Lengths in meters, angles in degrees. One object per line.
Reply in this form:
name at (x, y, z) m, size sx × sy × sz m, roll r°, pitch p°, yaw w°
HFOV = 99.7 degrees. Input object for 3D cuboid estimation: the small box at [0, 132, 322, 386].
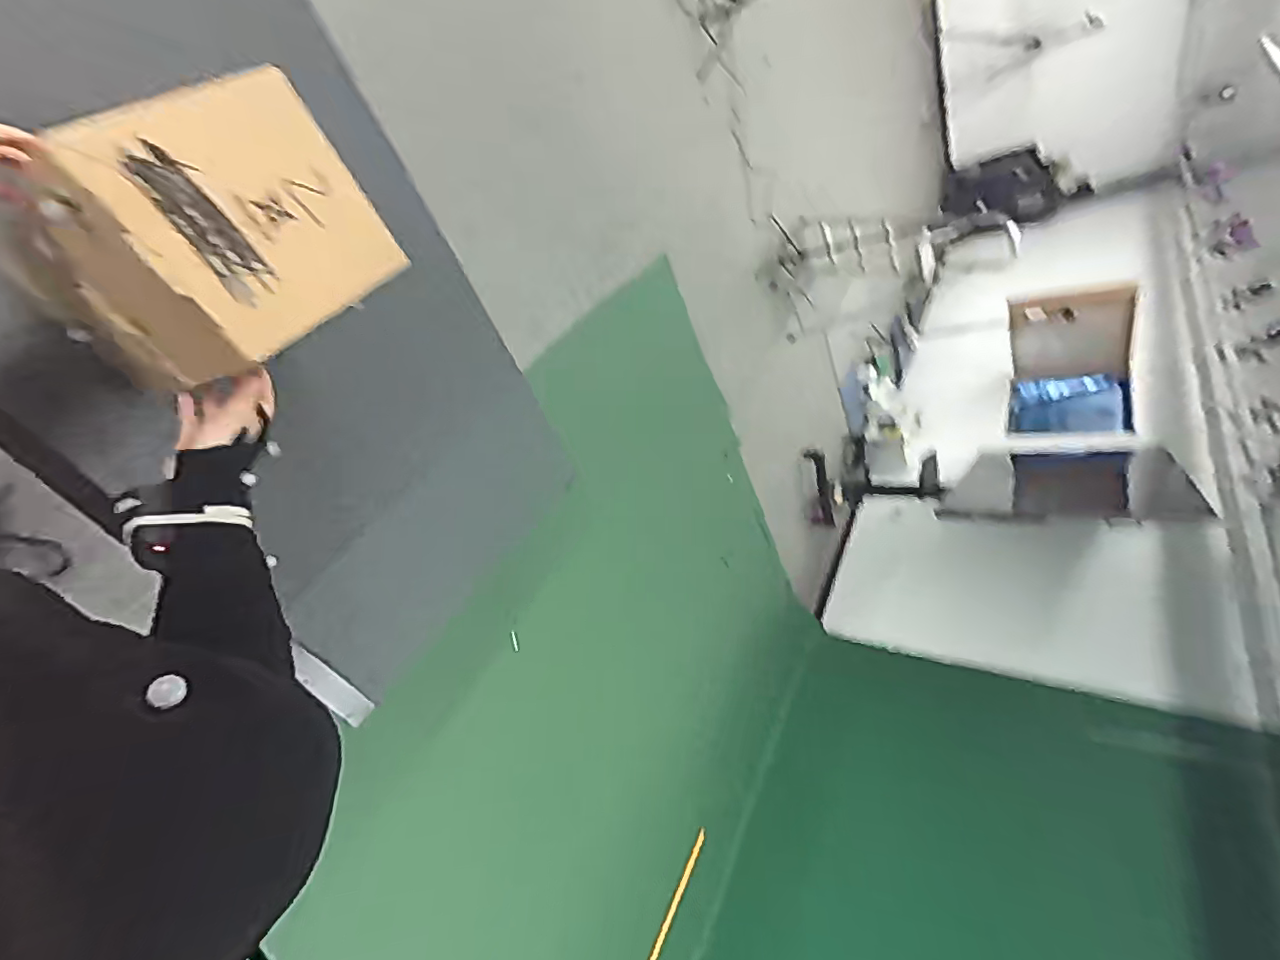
small box at (-0.483, -0.214, 0.550) m, size 0.179 × 0.176 × 0.168 m, roll -57°, pitch 133°, yaw -34°
